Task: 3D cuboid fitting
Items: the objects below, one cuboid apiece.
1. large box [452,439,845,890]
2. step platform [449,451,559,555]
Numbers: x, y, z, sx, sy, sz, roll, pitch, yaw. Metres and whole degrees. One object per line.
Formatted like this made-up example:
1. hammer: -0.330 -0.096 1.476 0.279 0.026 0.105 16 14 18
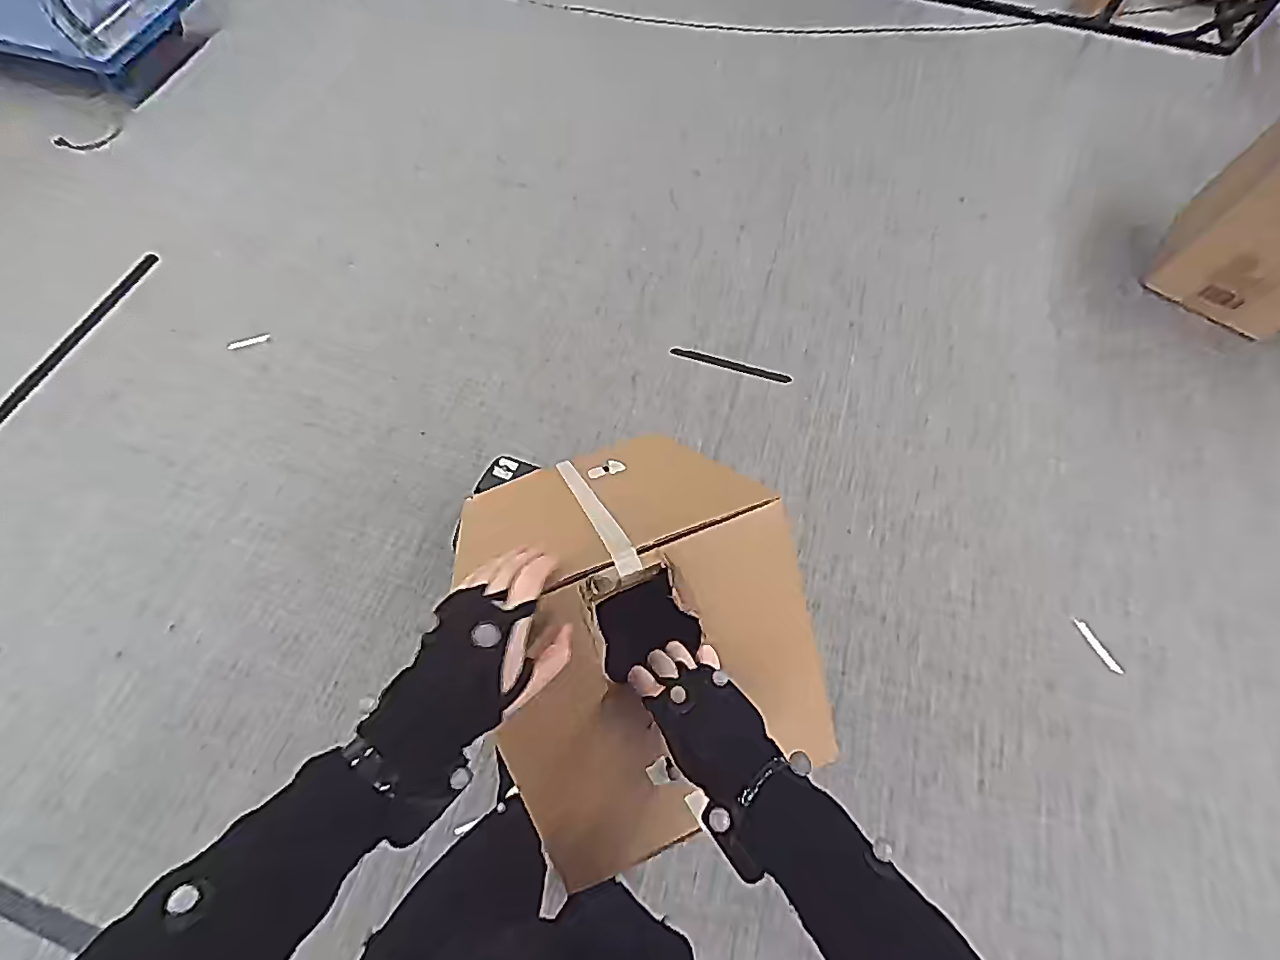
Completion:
1. large box: -0.017 0.166 0.679 0.320 0.408 0.320 -20 107 -11
2. step platform: -0.124 0.182 1.364 0.684 0.204 0.286 23 67 10
